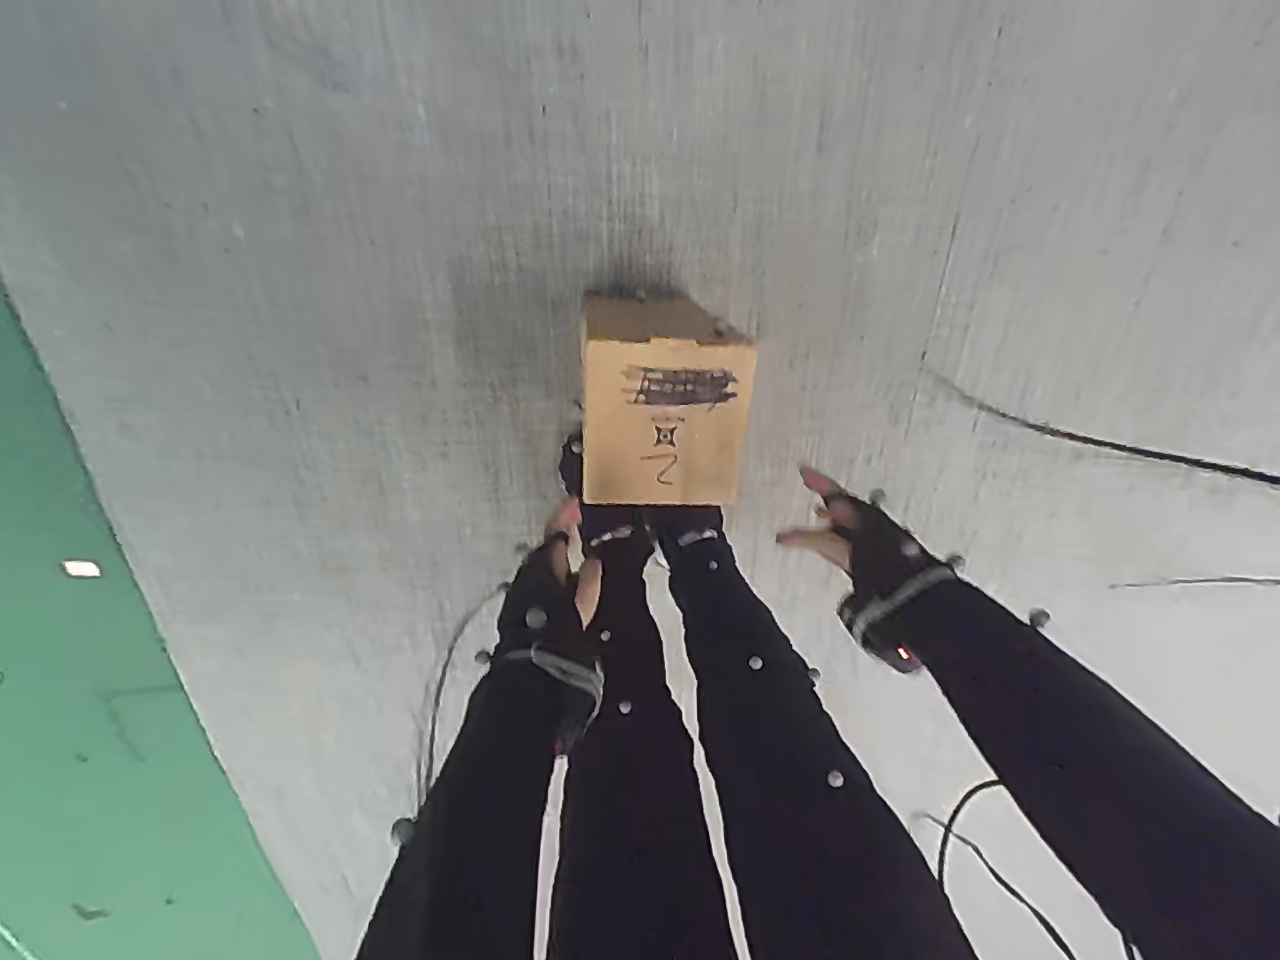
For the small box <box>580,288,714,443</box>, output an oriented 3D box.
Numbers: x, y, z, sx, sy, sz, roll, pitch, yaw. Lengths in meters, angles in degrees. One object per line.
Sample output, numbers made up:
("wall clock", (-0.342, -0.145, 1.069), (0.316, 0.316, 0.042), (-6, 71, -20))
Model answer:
("small box", (0.000, -0.165, 0.764), (0.168, 0.176, 0.179), (0, 117, -6))
